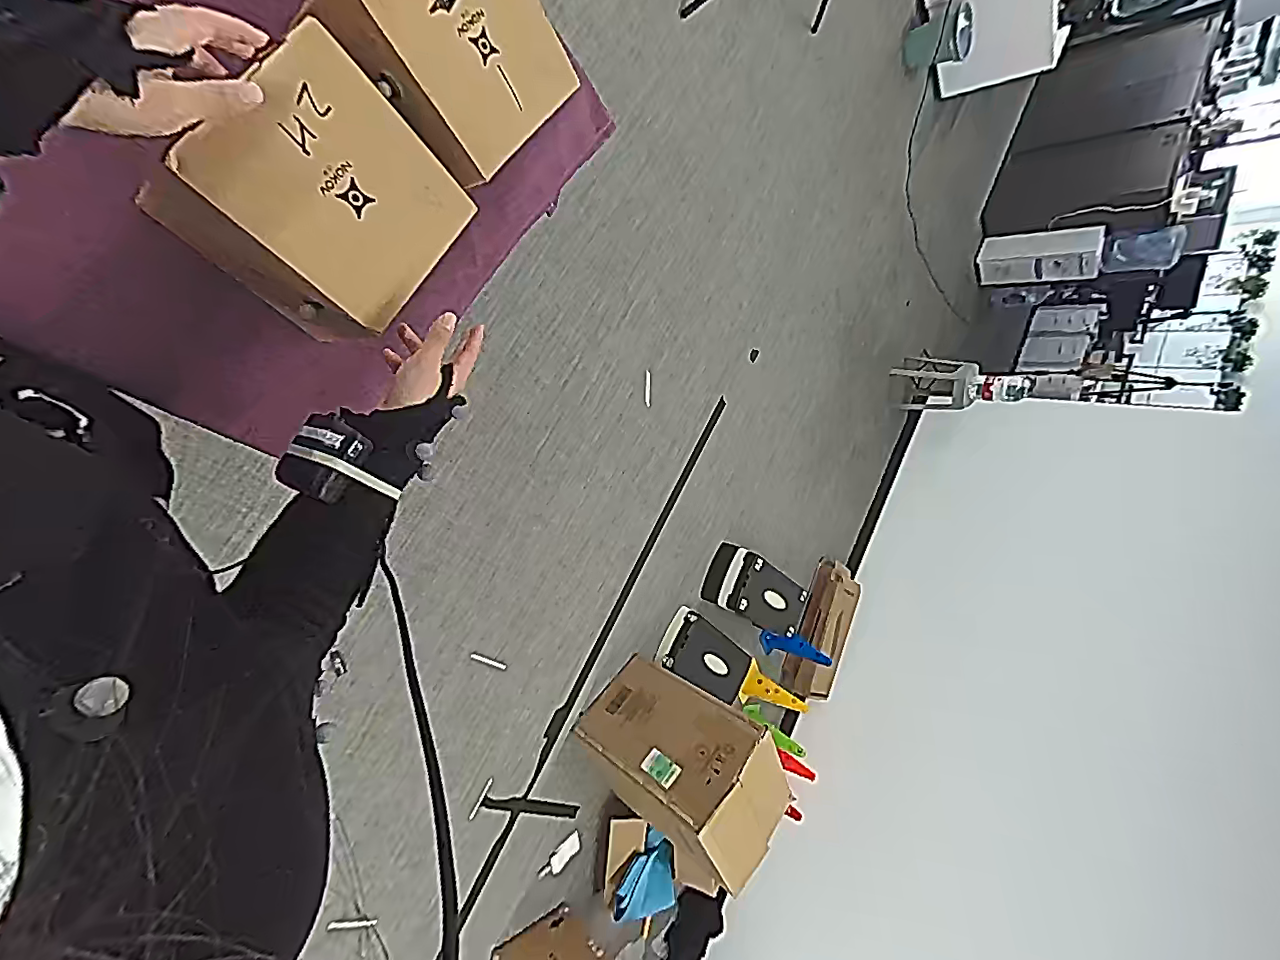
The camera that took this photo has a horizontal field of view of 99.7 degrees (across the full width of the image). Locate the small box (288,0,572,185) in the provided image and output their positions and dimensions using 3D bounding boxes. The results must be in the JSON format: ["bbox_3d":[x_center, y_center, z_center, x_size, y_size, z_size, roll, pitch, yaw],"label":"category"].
[{"bbox_3d":[-0.211,-0.421,0.549,0.168,0.176,0.179,-56,135,-18],"label":"small box"}]

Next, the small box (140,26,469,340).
[{"bbox_3d":[-0.303,-0.250,0.499,0.179,0.176,0.168,45,66,-43],"label":"small box"}]
